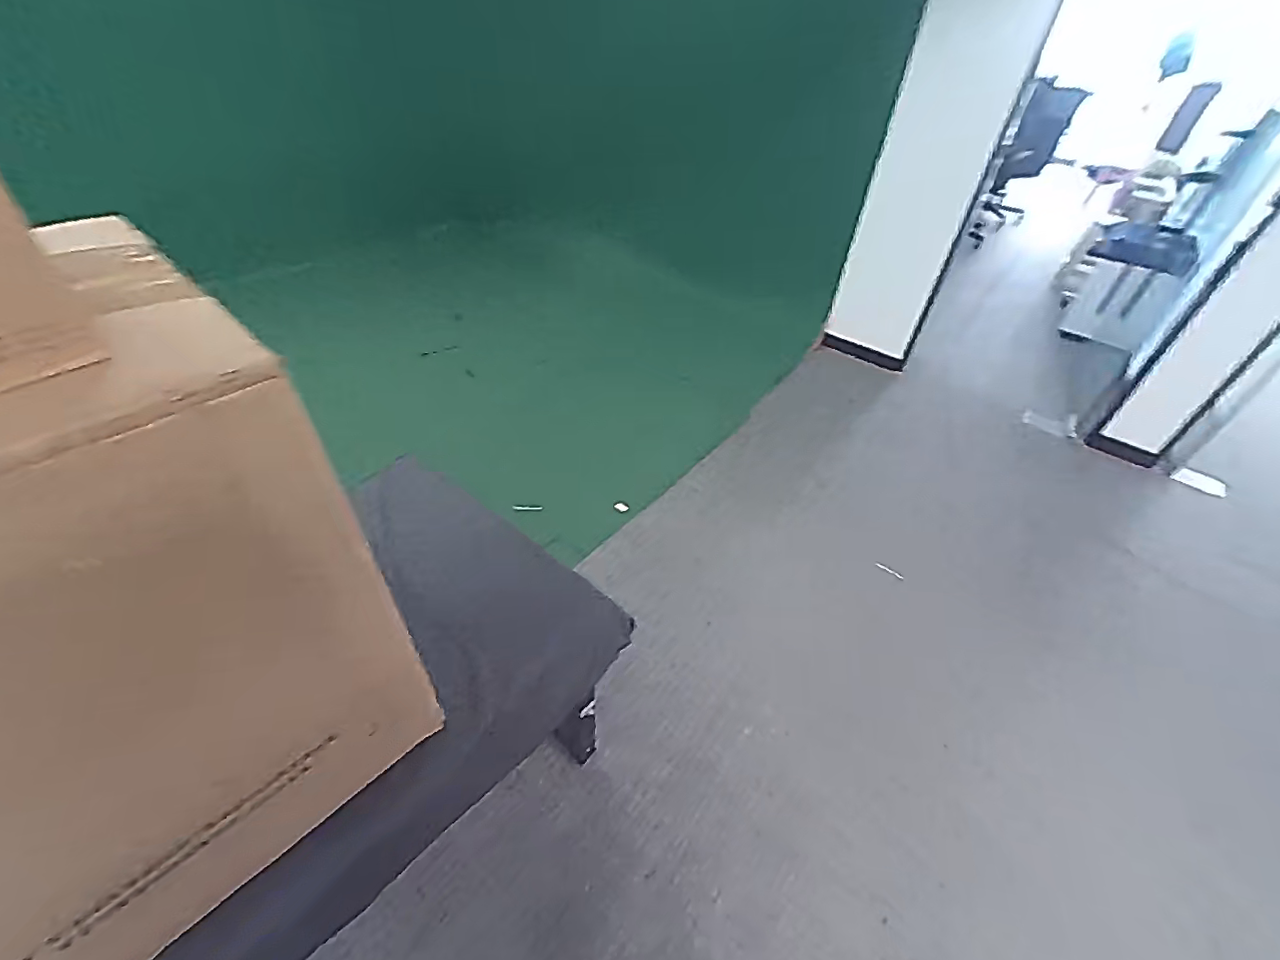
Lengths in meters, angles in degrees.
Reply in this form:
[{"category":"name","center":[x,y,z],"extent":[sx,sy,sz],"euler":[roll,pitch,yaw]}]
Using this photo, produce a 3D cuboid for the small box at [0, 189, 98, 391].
[{"category":"small box","center":[-0.448,-0.137,0.279],"extent":[0.179,0.176,0.168],"euler":[32,47,22]}]
